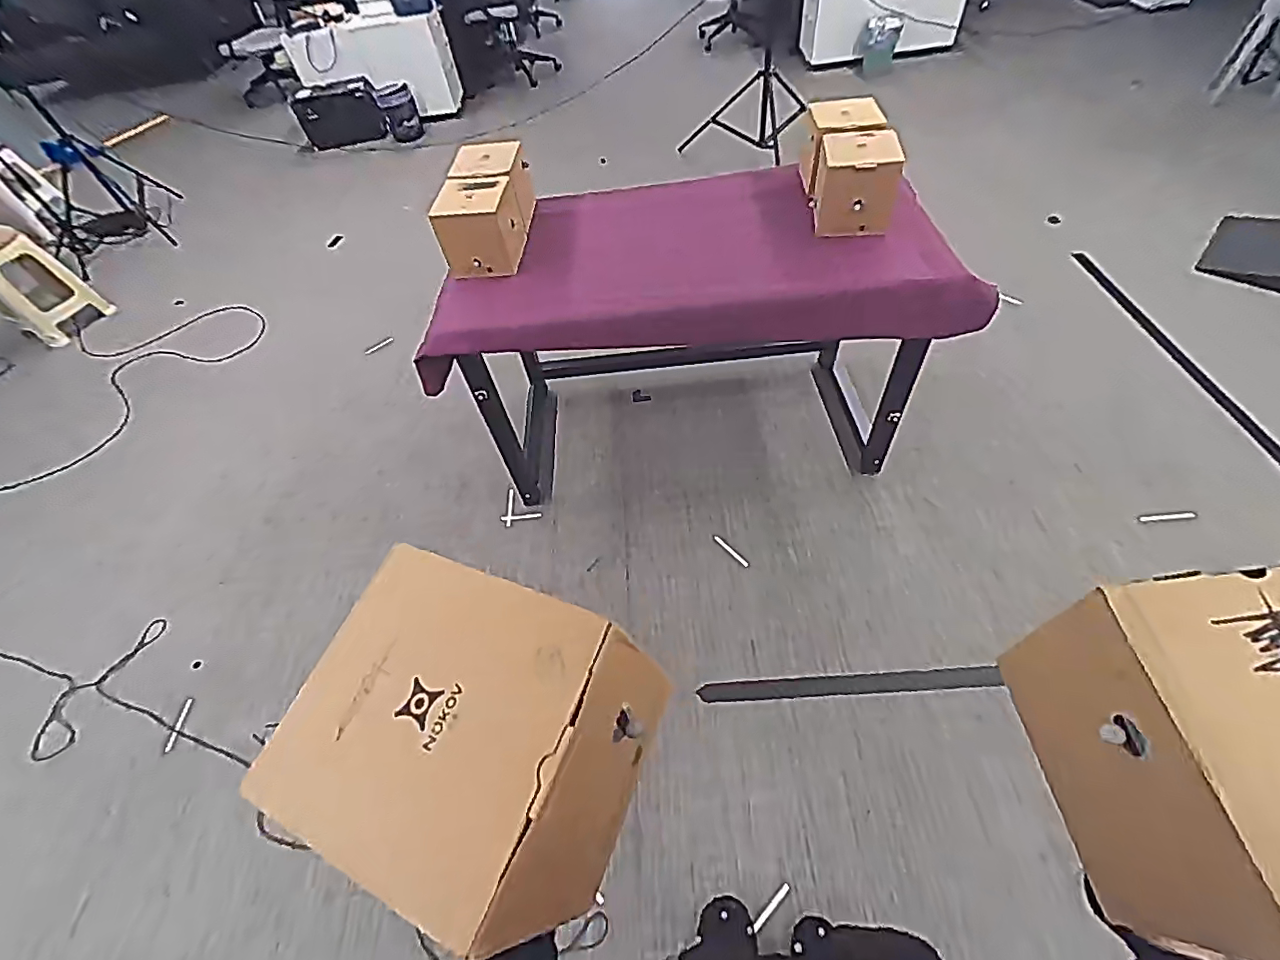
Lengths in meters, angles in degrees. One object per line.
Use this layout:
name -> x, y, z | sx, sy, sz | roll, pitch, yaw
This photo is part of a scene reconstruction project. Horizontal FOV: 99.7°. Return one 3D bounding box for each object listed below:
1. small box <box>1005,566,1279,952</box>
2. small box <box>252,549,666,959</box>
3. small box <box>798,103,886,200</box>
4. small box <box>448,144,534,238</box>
small box -> 0.368, 0.167, 0.331 | 0.168, 0.176, 0.179 | -9, 57, 7
small box -> -0.098, 0.173, 0.375 | 0.179, 0.176, 0.168 | 13, 63, 24
small box -> 0.519, -0.860, 1.419 | 0.168, 0.176, 0.179 | -2, 52, 5
small box -> -0.395, -0.782, 1.467 | 0.168, 0.176, 0.179 | -2, 54, 6
